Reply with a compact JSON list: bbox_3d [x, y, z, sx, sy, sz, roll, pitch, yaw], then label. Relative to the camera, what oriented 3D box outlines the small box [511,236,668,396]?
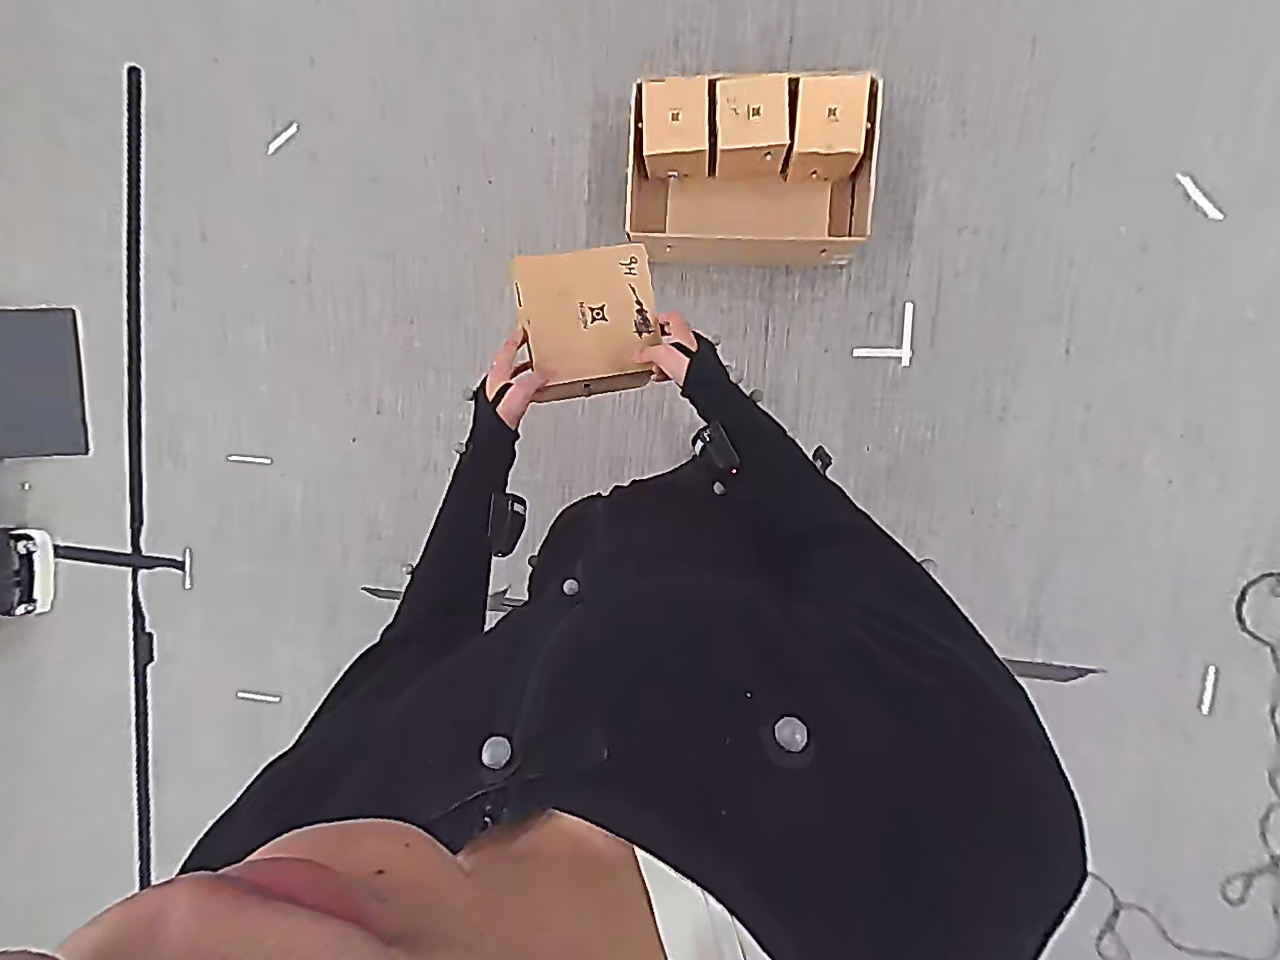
[{"bbox_3d":[-0.073,-0.218,0.758,0.179,0.176,0.168,-11,94,-10],"label":"small box"}]
